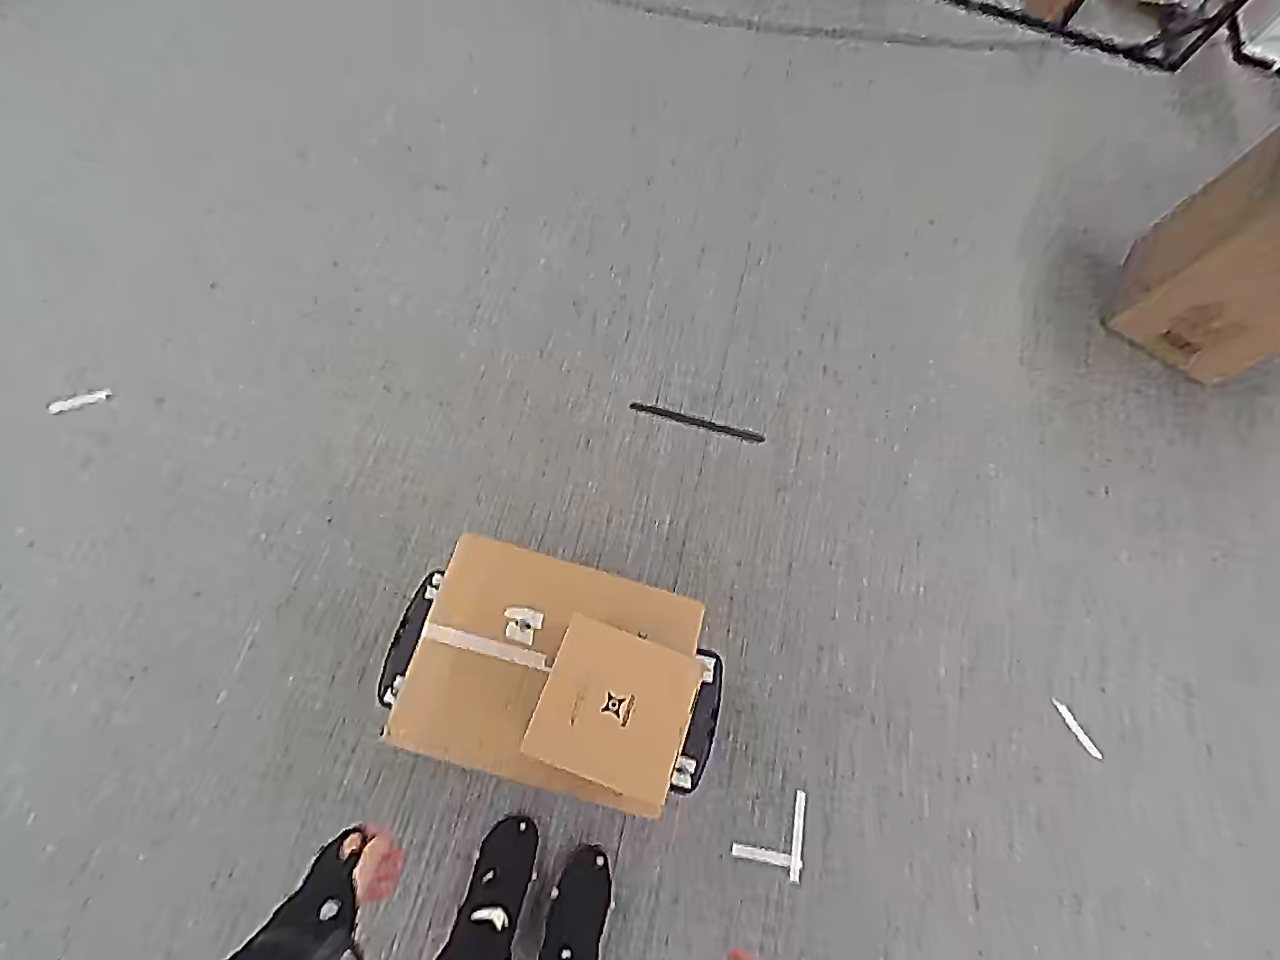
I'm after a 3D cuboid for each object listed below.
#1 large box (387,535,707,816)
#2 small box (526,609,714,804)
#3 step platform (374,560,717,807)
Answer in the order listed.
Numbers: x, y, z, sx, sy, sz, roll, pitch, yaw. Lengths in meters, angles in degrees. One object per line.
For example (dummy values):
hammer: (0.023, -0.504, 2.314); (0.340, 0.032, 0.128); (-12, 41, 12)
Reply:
large box: (-0.134, 0.326, 0.932); (0.408, 0.320, 0.320); (17, 67, 0)
small box: (-0.028, 0.282, 0.698); (0.179, 0.176, 0.168); (22, 69, 1)
step platform: (-0.184, 0.419, 1.146); (0.684, 0.204, 0.286); (22, 68, 2)
